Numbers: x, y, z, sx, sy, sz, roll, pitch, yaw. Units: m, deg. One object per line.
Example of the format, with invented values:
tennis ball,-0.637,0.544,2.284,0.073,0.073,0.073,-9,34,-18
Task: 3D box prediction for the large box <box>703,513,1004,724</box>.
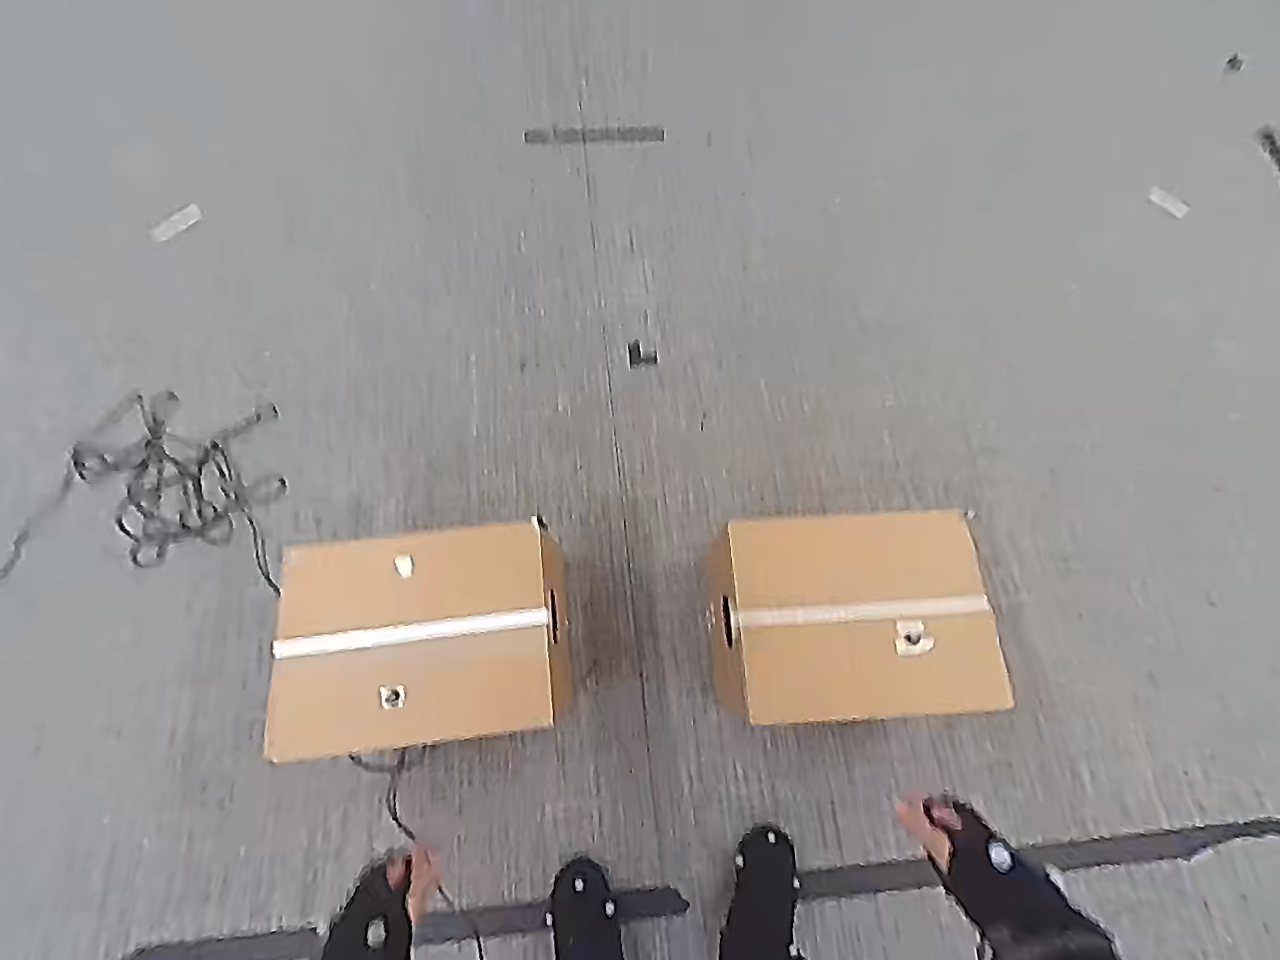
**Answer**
large box,0.349,0.260,1.008,0.408,0.320,0.320,-2,71,-3
